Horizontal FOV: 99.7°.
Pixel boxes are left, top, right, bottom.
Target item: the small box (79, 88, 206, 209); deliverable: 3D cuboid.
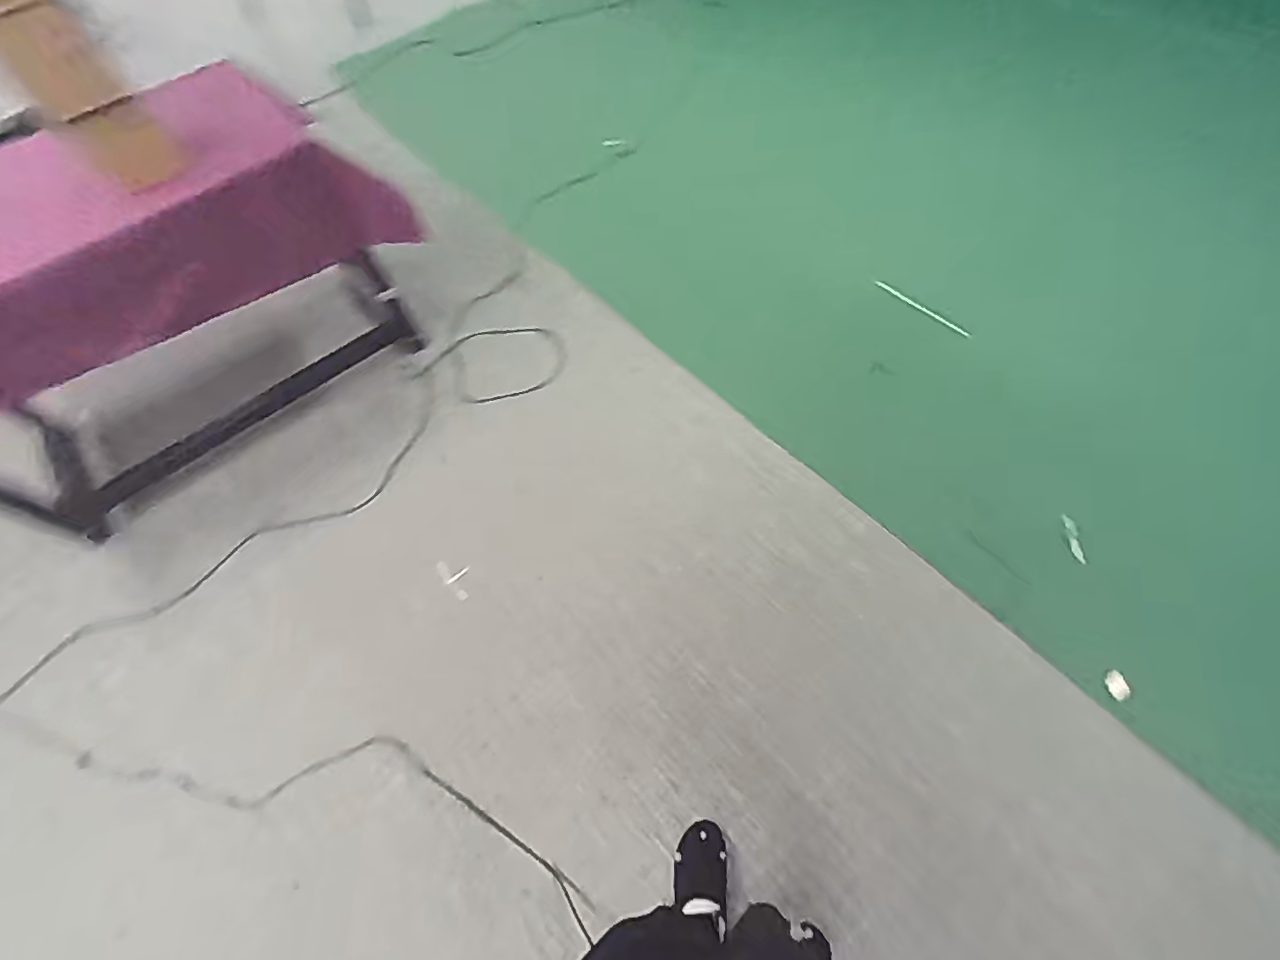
[{"bbox_3d":[-1.175,-0.779,1.274,0.179,0.176,0.168,-40,64,-17],"label":"small box"}]
